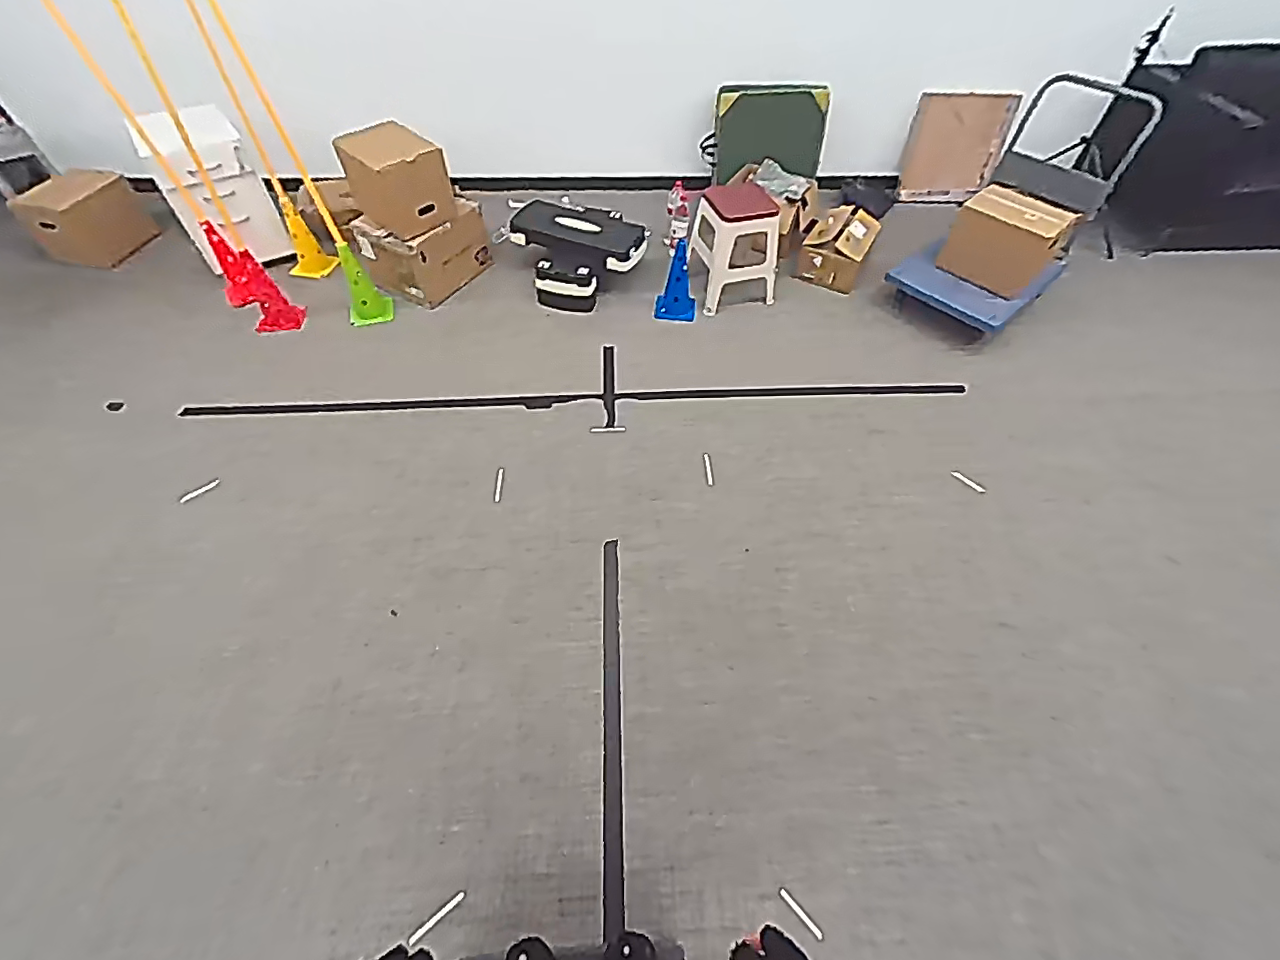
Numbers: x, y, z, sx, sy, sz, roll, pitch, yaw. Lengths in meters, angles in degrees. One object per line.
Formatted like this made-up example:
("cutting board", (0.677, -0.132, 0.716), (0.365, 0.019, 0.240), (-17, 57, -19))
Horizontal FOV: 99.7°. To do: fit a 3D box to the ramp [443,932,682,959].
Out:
("ramp", (-0.128, 1.393, 0.881), (0.509, 0.206, 0.991), (-2, 53, -5))
